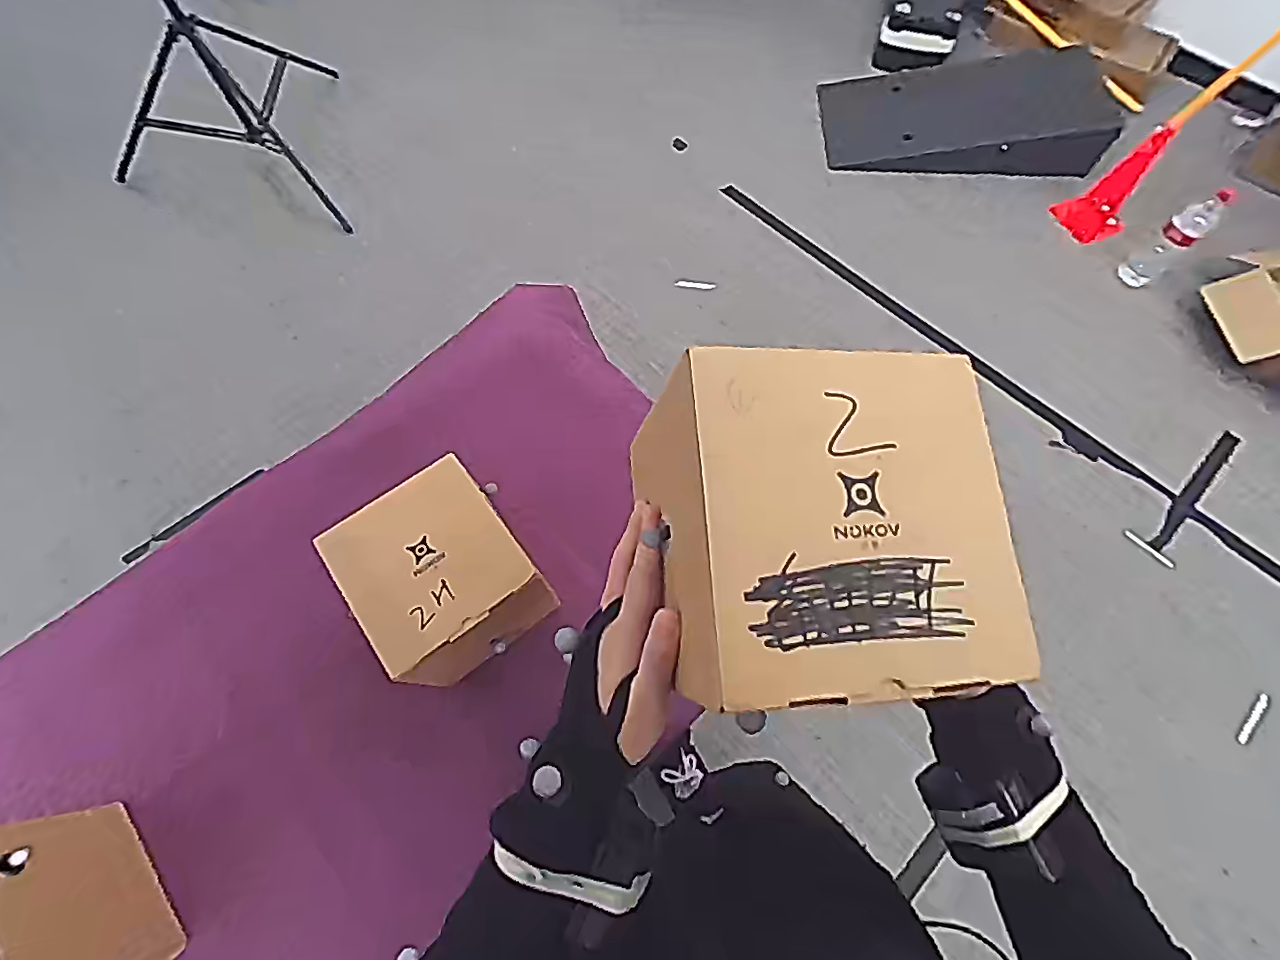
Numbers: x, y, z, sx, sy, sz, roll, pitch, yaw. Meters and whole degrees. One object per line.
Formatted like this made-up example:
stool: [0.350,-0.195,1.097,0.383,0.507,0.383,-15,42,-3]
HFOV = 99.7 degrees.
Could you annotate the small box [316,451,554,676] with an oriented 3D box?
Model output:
small box: [-0.220,0.105,0.622,0.168,0.176,0.179,-36,72,-14]

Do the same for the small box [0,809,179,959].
small box: [-0.575,0.433,0.480,0.168,0.176,0.179,-40,73,-16]
